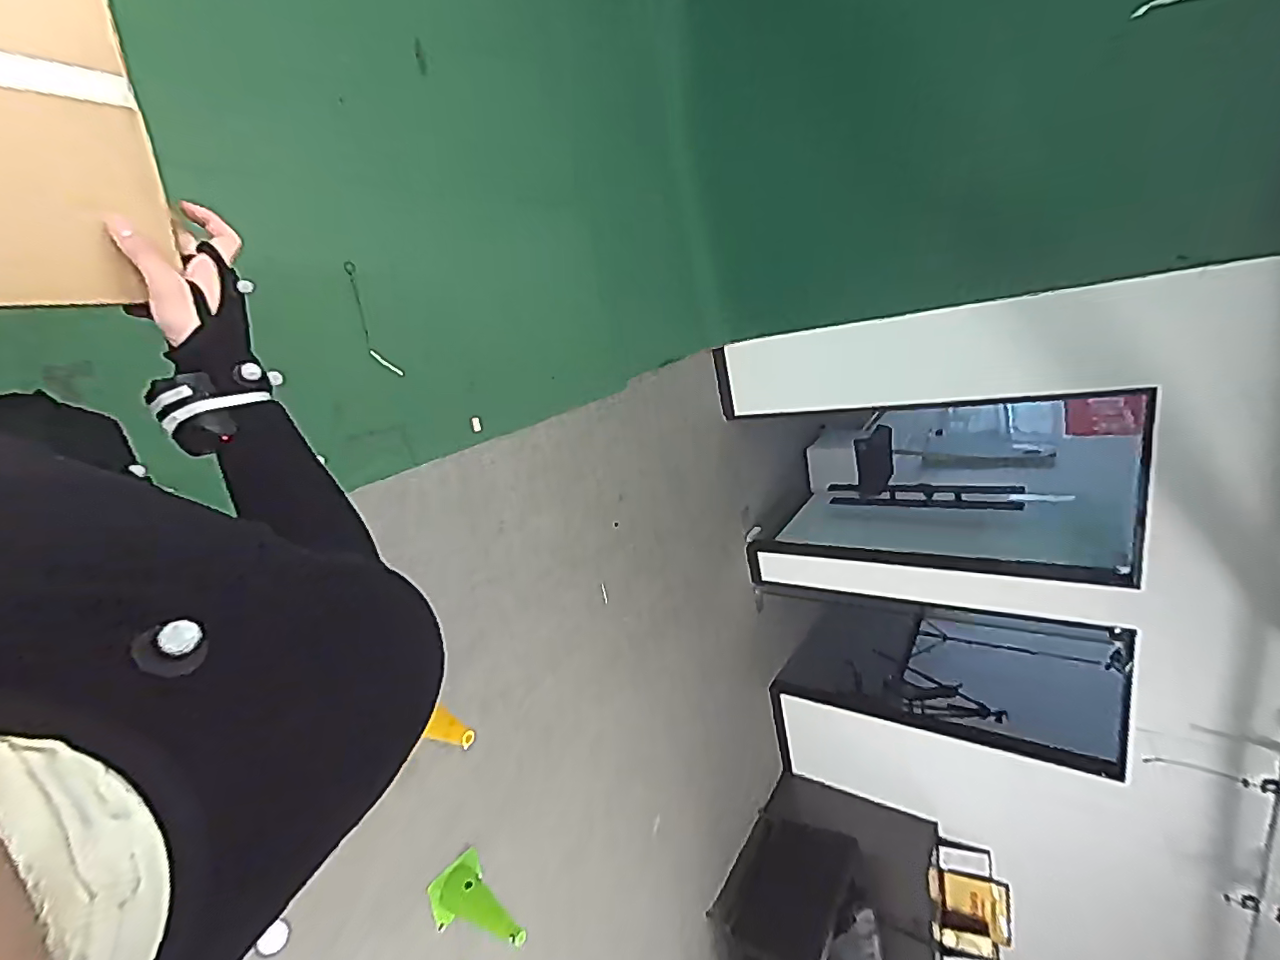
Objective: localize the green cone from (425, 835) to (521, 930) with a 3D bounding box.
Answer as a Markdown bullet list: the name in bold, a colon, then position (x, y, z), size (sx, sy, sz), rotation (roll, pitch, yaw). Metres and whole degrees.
- **green cone**: position (-0.538, 1.436, 1.859), size (0.200, 0.368, 0.202), rotation (-24, 109, -51)

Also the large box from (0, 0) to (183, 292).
- **large box**: position (-0.652, -0.297, 0.384), size (0.408, 0.320, 0.320), rotation (-22, 120, -46)
